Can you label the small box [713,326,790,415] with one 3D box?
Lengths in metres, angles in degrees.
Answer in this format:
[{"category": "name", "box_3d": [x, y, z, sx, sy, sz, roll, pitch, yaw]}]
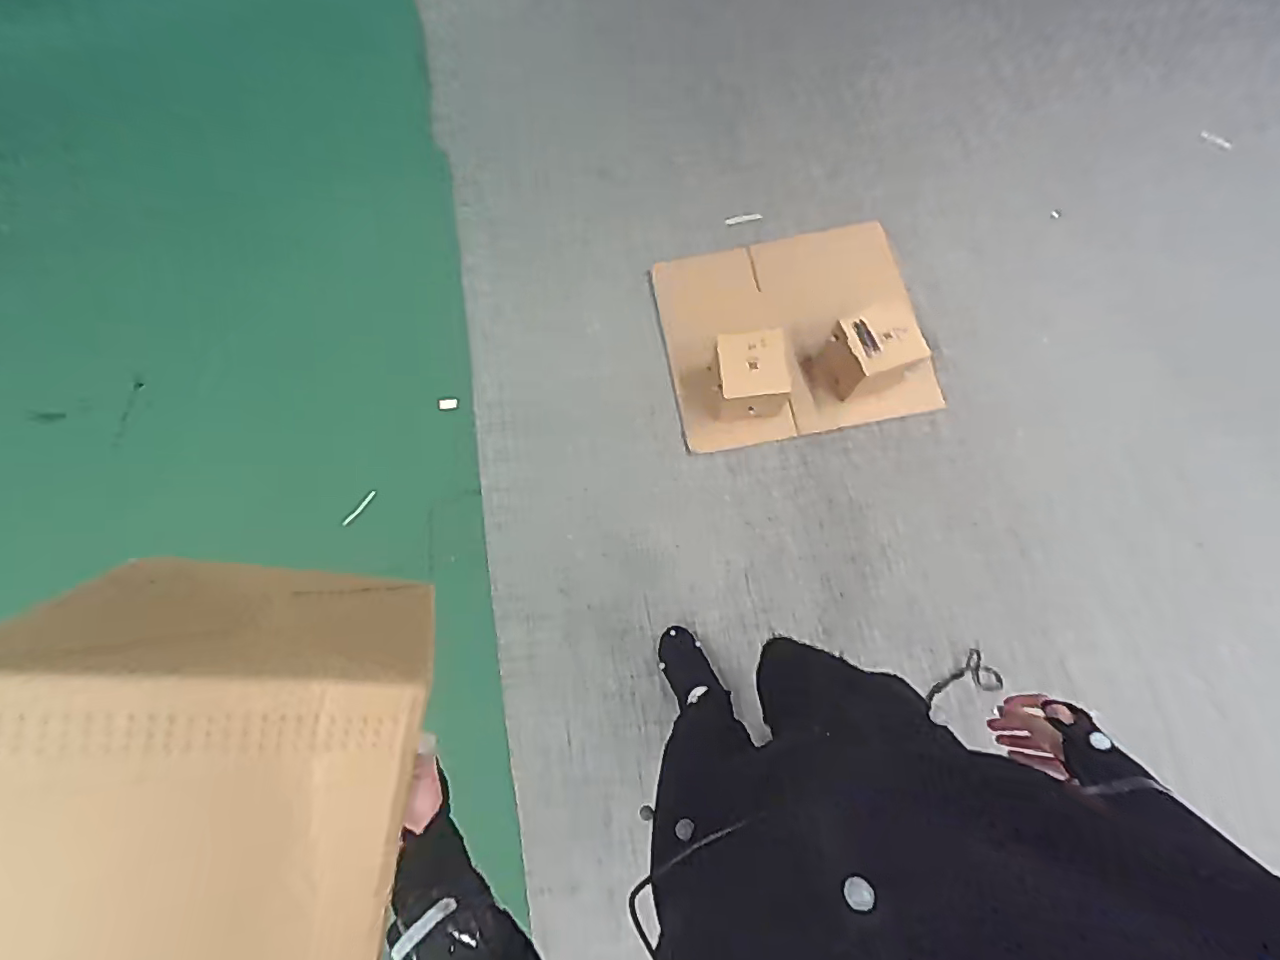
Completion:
[{"category": "small box", "box_3d": [0.283, -0.276, 1.406, 0.168, 0.176, 0.179, -5, 75, 1]}]
